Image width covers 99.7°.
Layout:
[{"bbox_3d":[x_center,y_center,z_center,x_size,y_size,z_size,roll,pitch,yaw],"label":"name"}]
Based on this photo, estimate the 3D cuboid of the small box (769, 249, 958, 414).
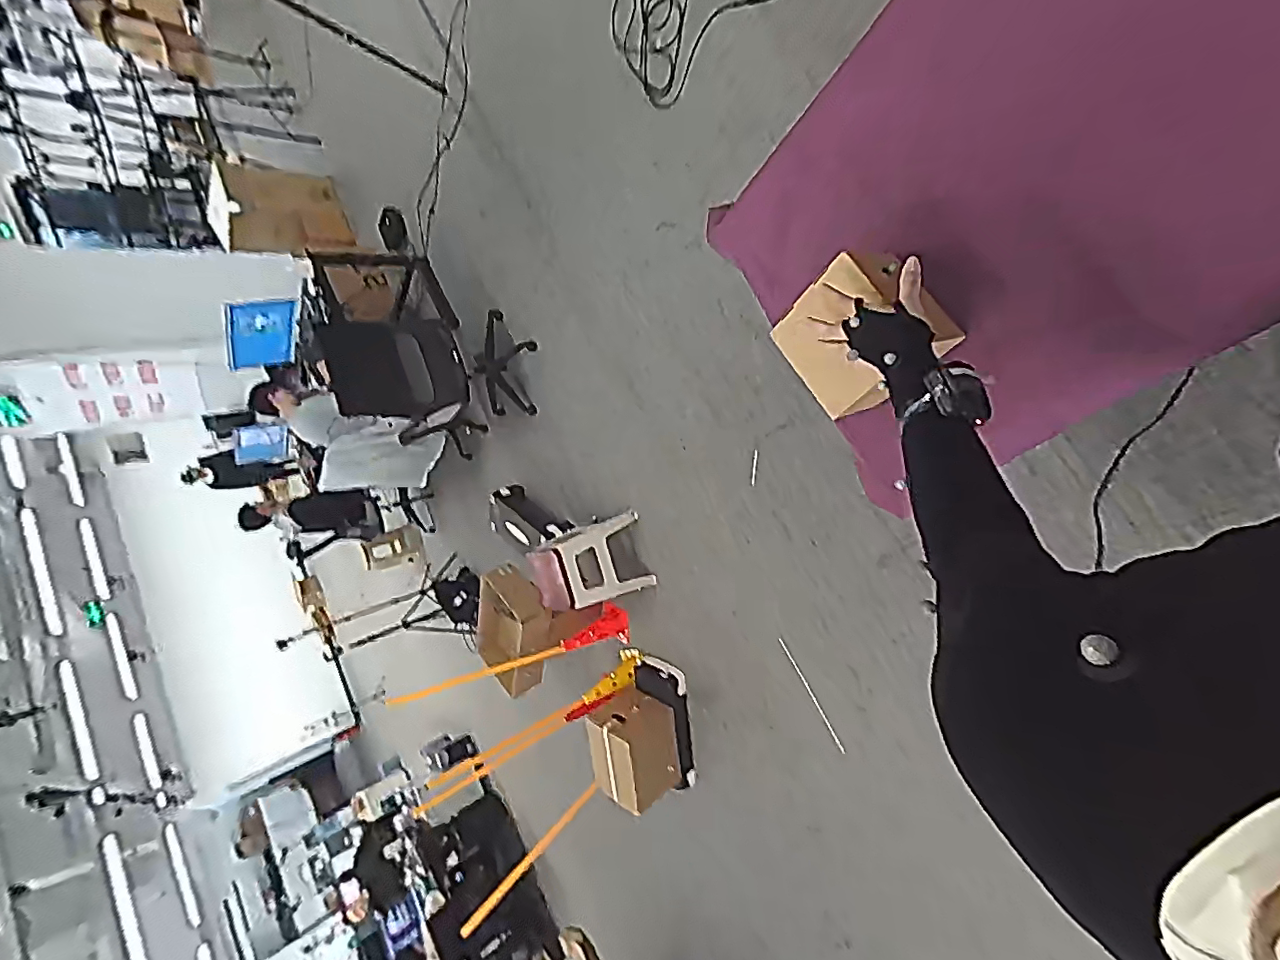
[{"bbox_3d":[0.342,-0.227,0.833,0.179,0.176,0.168,59,139,15],"label":"small box"}]
